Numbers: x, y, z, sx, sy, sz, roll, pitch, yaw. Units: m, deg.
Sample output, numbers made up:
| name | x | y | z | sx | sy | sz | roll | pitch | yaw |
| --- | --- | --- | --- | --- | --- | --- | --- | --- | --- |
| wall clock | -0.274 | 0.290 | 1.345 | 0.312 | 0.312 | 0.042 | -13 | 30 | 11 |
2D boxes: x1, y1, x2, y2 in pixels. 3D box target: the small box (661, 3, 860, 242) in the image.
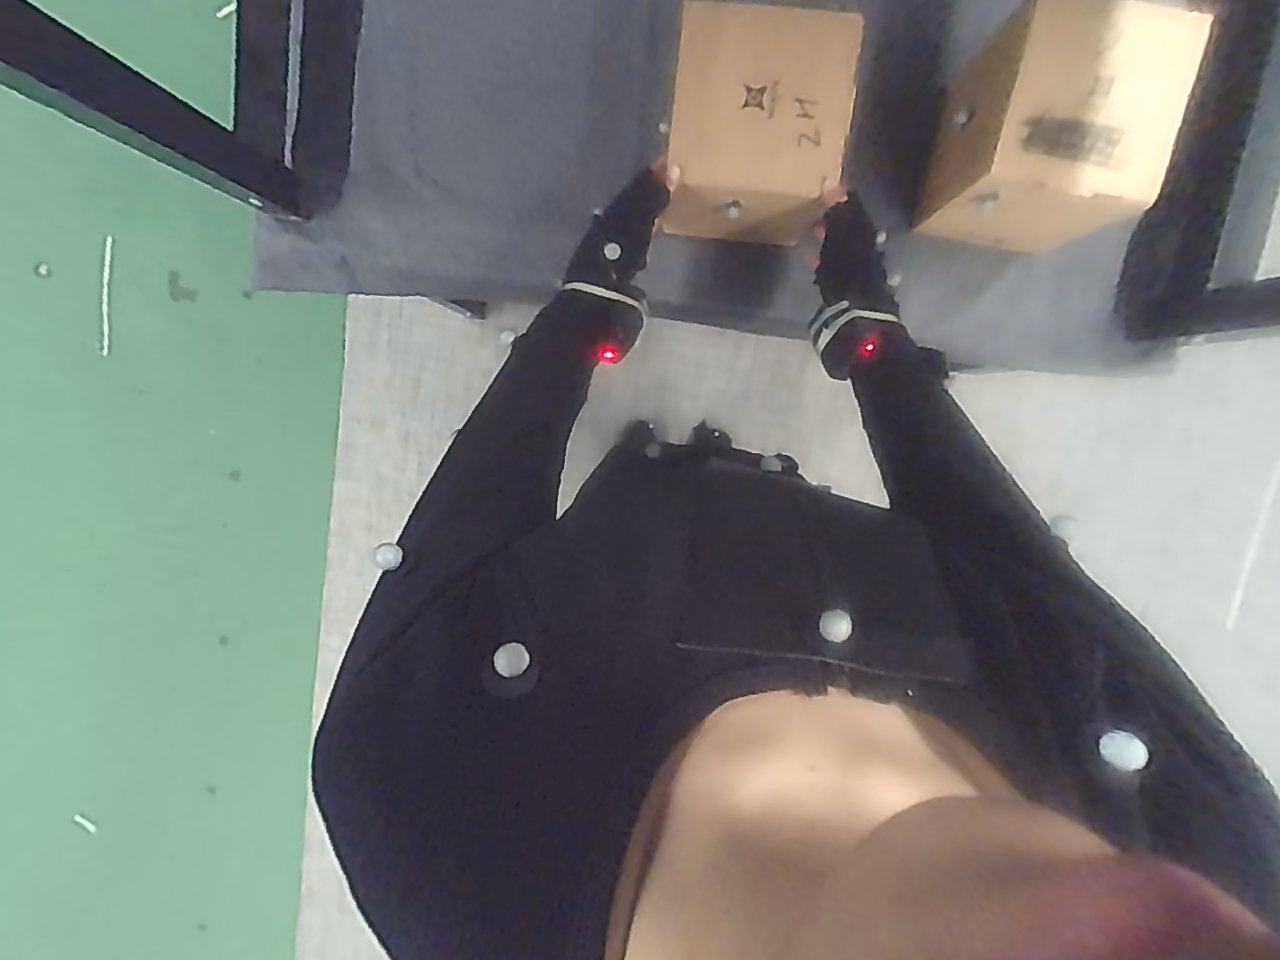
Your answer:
| name | x | y | z | sx | sy | sz | roll | pitch | yaw |
| --- | --- | --- | --- | --- | --- | --- | --- | --- | --- |
| small box | 0.120 | -0.383 | 0.611 | 0.179 | 0.176 | 0.168 | 7 | 99 | 1 |
